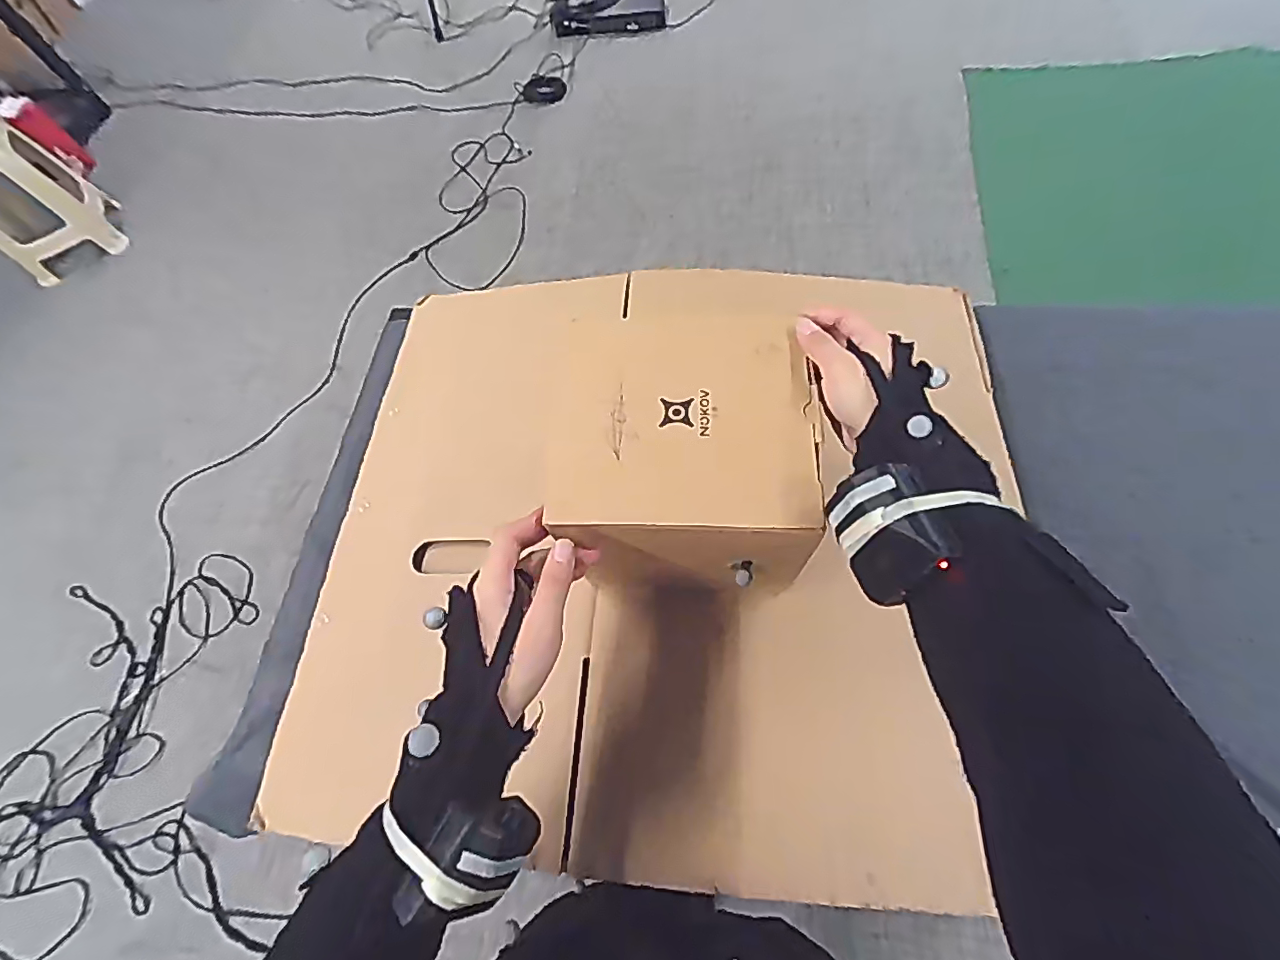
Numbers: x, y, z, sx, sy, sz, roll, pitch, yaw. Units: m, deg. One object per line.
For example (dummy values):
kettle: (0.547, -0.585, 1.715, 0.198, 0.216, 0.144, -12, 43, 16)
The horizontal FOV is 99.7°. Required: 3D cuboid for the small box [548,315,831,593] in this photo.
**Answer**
small box: (0.040, -0.010, 0.435, 0.179, 0.176, 0.168, -1, 64, 7)
